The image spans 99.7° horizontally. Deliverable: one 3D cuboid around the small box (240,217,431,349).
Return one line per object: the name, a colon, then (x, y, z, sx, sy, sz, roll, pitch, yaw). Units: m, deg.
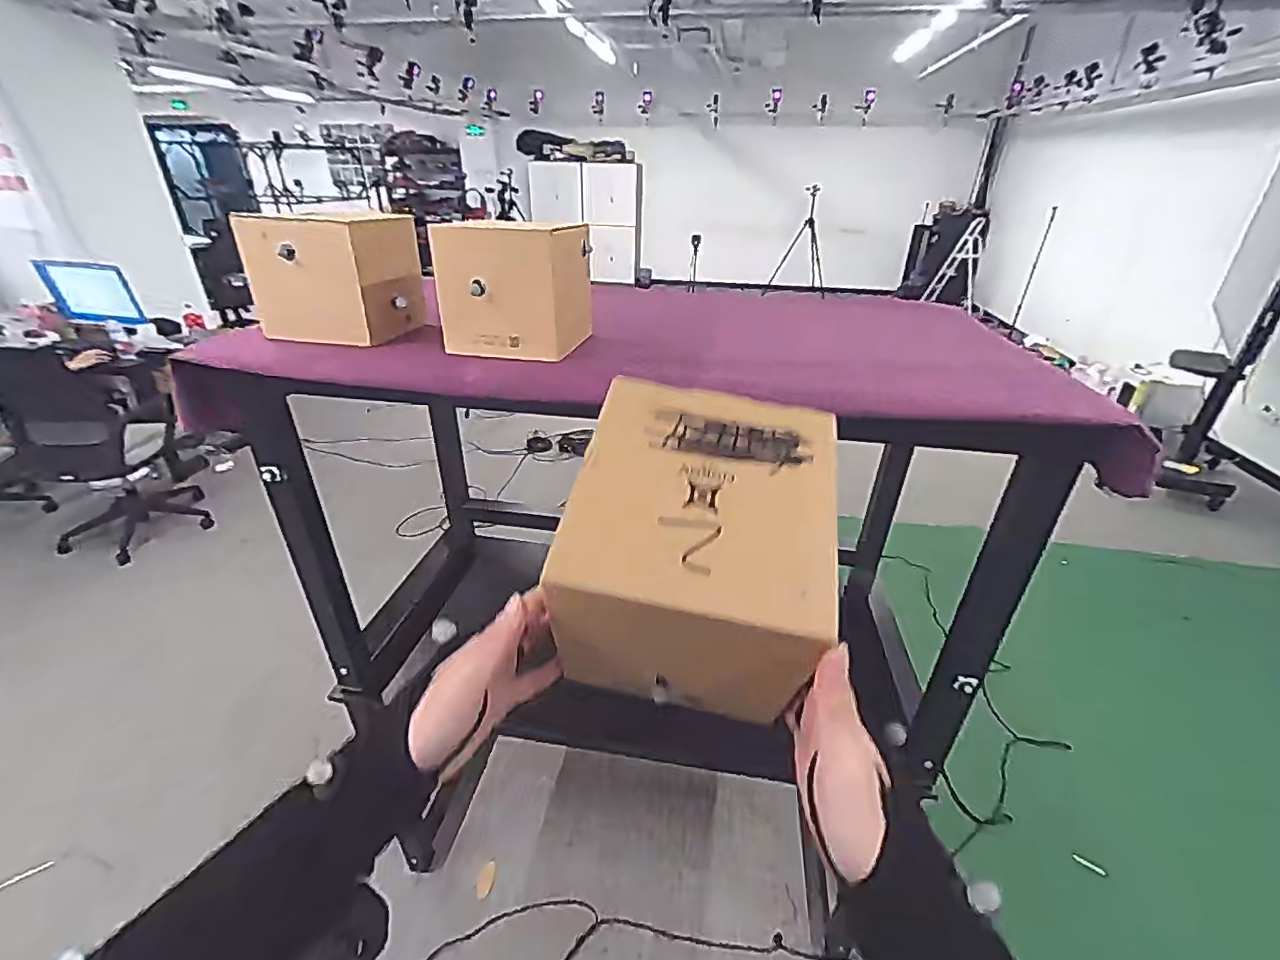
small box: (-0.446, -0.302, 0.821, 0.179, 0.176, 0.168, 7, 29, 8)

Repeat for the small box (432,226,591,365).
small box: (-0.168, -0.269, 0.777, 0.168, 0.176, 0.179, 6, 27, 9)
